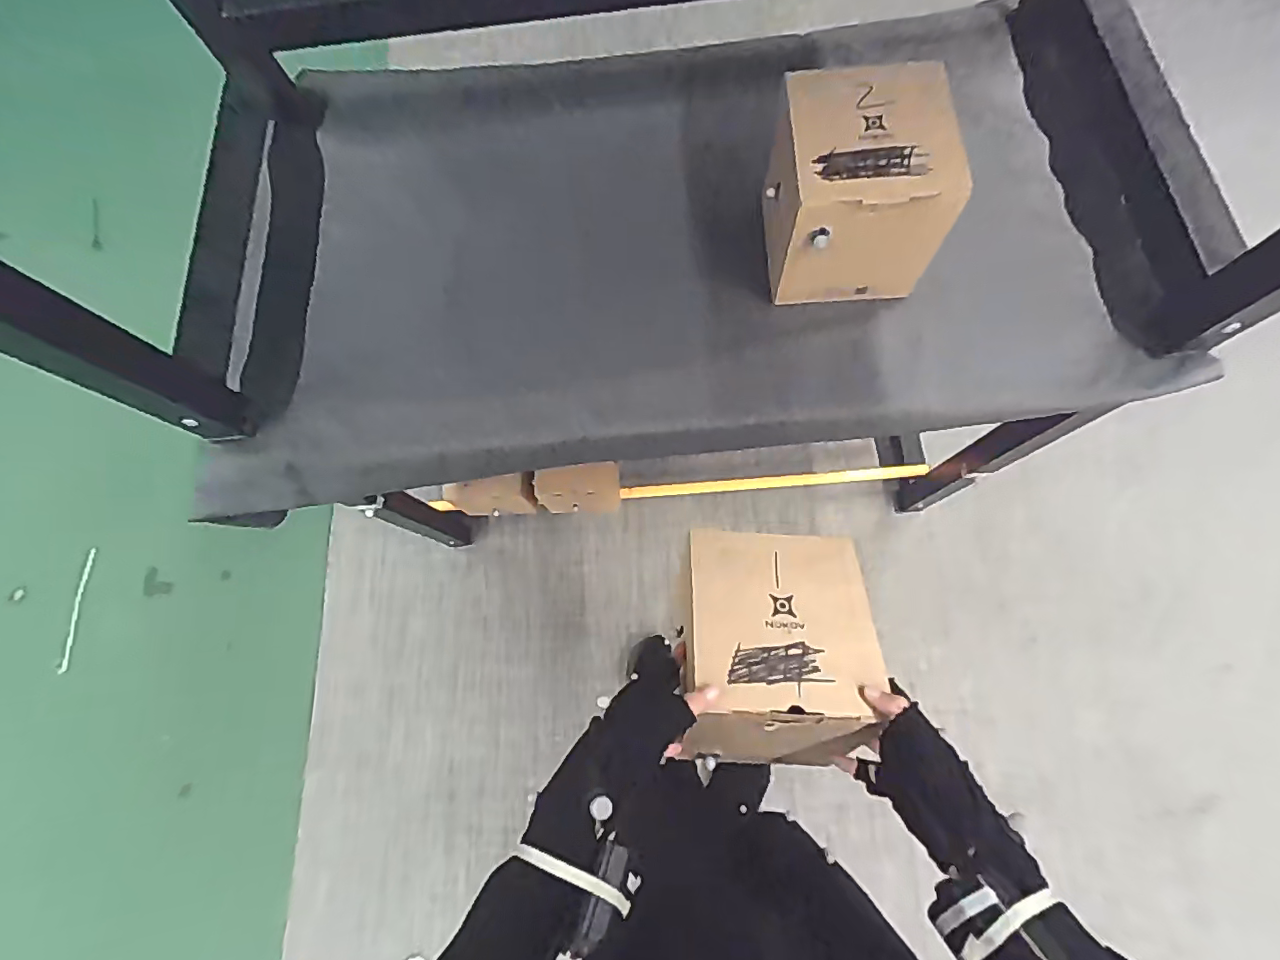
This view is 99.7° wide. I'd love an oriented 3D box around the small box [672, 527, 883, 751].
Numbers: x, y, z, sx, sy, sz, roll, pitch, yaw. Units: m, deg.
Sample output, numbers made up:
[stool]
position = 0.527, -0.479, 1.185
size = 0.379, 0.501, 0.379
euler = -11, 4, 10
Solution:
[small box]
position = 0.125, 0.171, 0.568
size = 0.168, 0.176, 0.179
euler = 4, 50, -1
